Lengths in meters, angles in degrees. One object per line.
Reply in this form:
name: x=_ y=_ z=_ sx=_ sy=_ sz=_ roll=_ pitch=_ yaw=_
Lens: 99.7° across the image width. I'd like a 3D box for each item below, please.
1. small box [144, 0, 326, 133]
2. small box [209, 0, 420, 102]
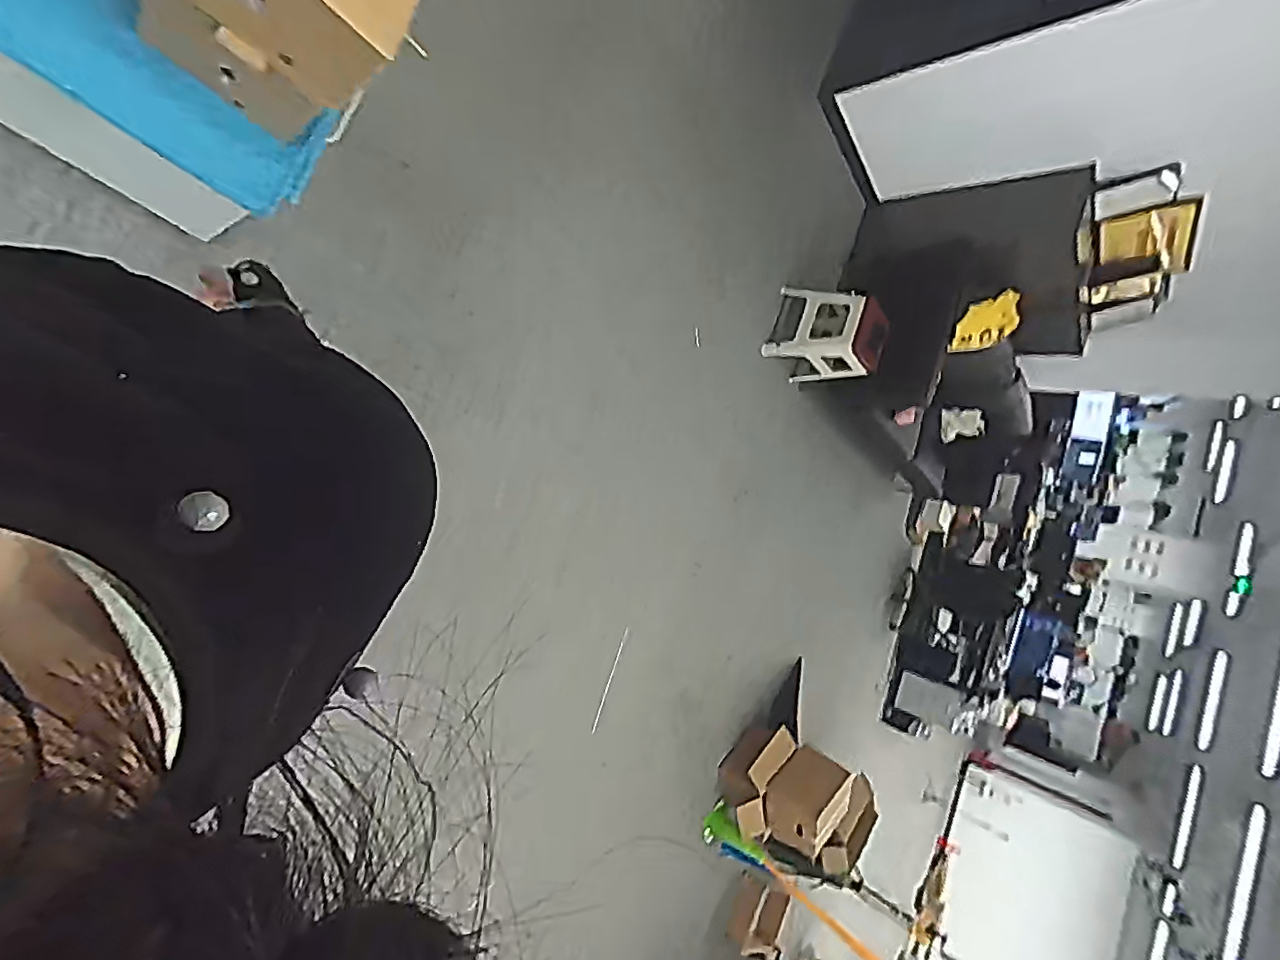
small box: x=-0.445 y=-0.557 z=0.639 sx=0.168 sy=0.176 sz=0.179 roll=30 pitch=78 yaw=-47
small box: x=-0.321 y=-0.529 z=0.537 sx=0.168 sy=0.176 sz=0.179 roll=26 pitch=78 yaw=-47
